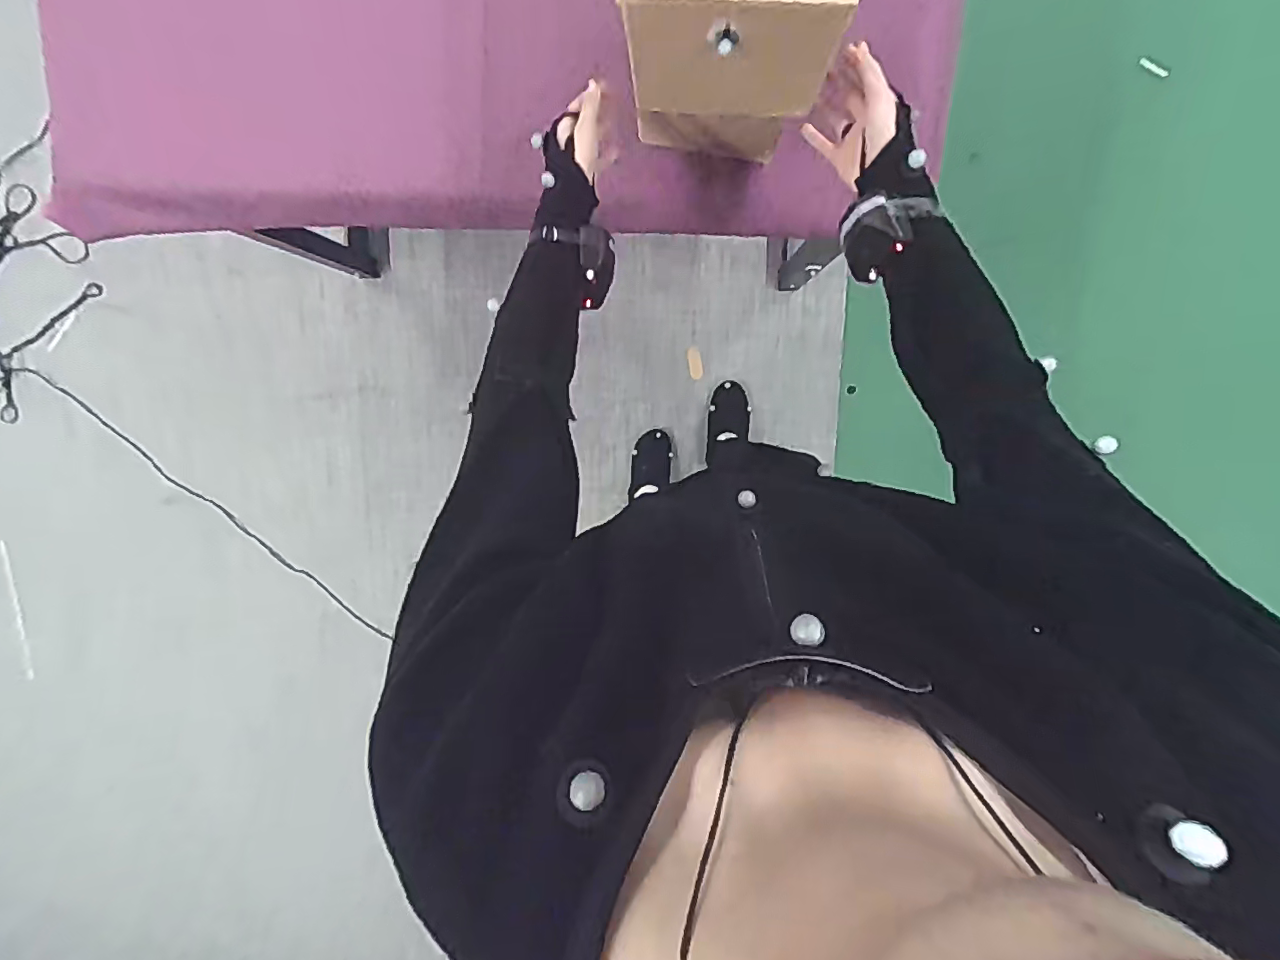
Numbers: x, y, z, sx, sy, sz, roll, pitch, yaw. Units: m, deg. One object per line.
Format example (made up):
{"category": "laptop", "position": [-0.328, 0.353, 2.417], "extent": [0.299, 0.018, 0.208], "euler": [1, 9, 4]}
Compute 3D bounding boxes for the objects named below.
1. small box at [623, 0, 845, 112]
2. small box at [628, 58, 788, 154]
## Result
{"category": "small box", "position": [0.080, -0.441, 0.454], "extent": [0.179, 0.176, 0.168], "euler": [6, 100, 3]}
{"category": "small box", "position": [0.094, -0.497, 0.609], "extent": [0.179, 0.176, 0.168], "euler": [12, 100, 3]}
